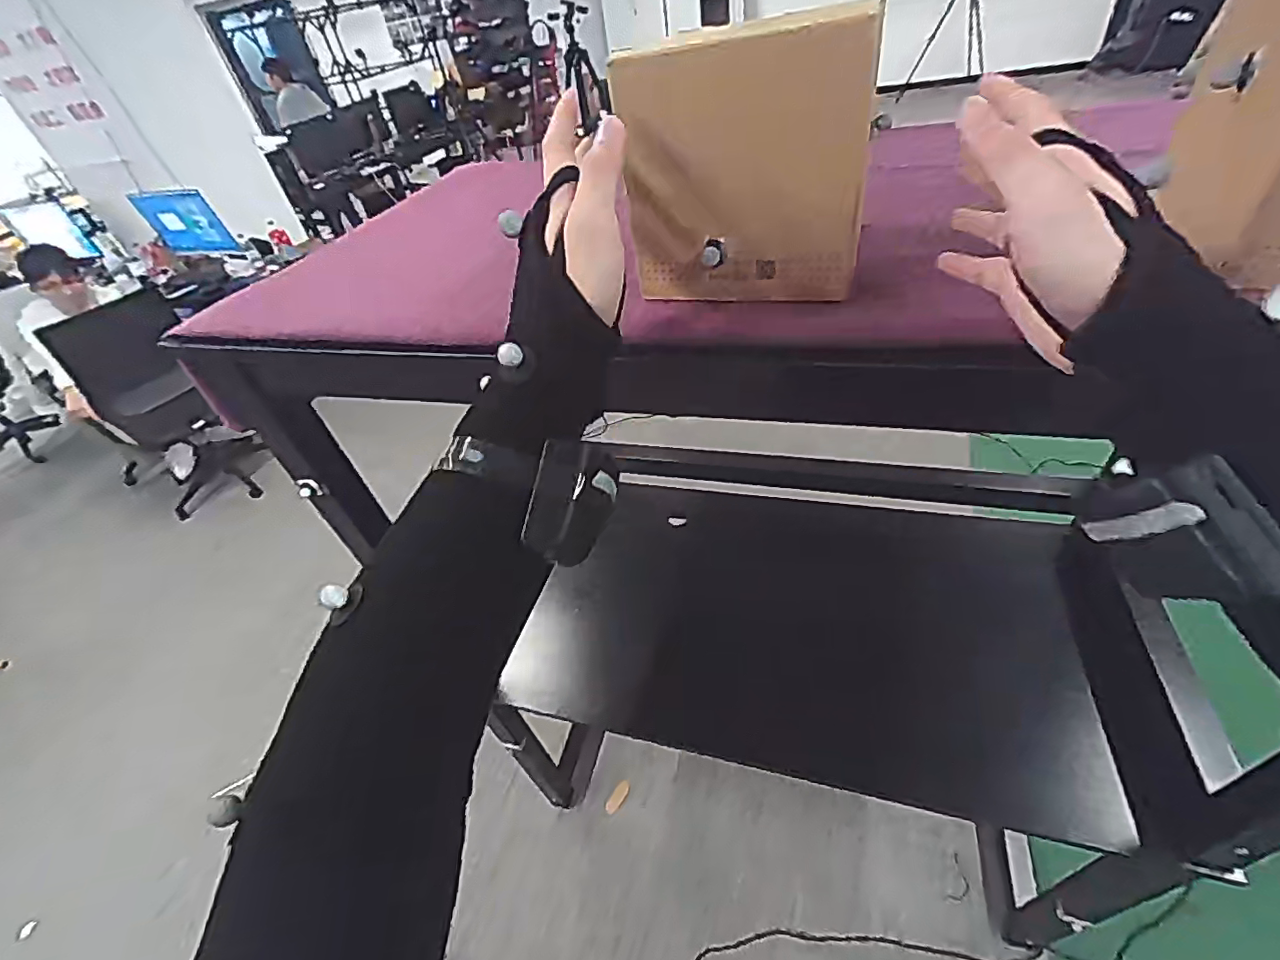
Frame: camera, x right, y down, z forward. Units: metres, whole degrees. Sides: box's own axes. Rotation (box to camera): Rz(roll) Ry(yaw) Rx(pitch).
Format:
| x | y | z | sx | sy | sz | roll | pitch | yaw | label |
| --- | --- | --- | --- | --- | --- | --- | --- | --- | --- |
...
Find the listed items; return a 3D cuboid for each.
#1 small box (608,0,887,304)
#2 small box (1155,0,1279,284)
| x | y | z | sx | sy | sz | roll | pitch | yaw | label |
| --- | --- | --- | --- | --- | --- | --- | --- | --- | --- |
| 0.093 | -0.257 | 0.430 | 0.168 | 0.176 | 0.179 | 7 | 44 | 21 | small box |
| 0.454 | -0.227 | 0.314 | 0.168 | 0.176 | 0.179 | 7 | 45 | 22 | small box |
